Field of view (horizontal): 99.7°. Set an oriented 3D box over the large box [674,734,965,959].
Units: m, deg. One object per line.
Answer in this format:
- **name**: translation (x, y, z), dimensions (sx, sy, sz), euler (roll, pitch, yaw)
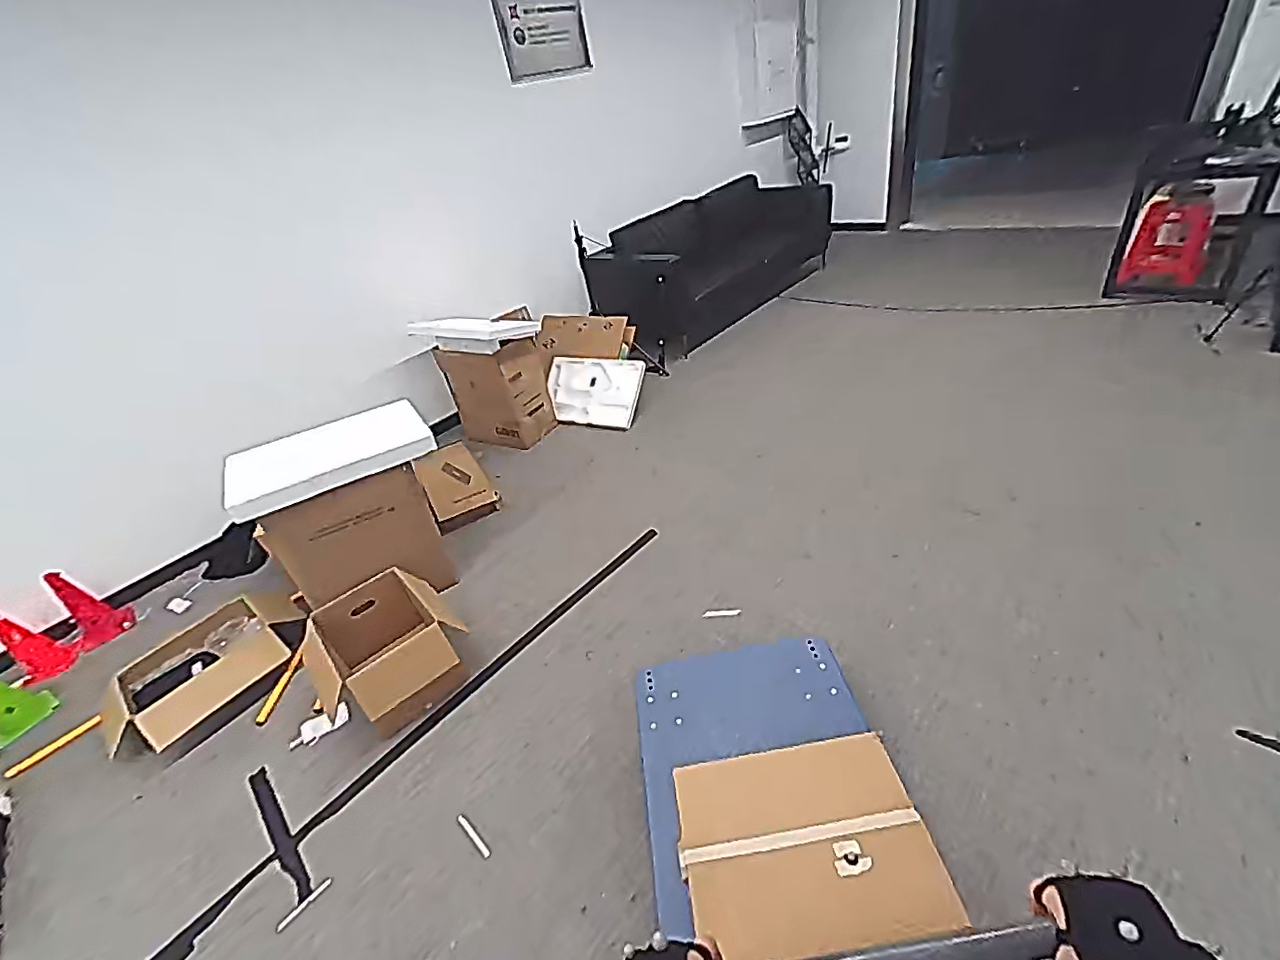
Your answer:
- **large box**: translation (0.296, 0.735, 1.005), dimensions (0.408, 0.320, 0.320), euler (-10, 34, 0)
